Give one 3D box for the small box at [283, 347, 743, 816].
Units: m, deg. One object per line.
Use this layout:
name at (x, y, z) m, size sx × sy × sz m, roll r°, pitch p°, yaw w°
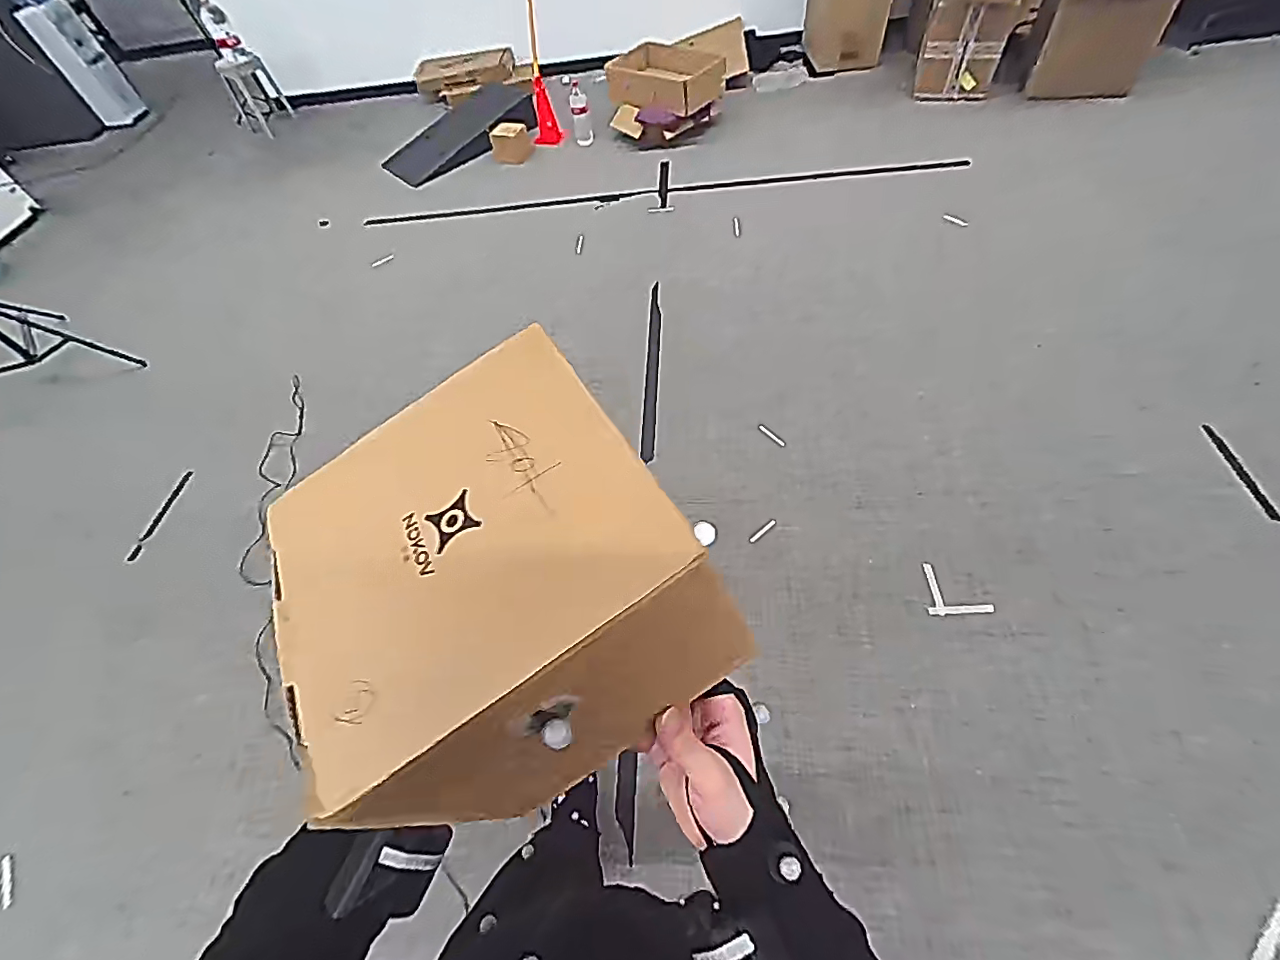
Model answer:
small box at (-0.060, 0.066, 0.318) m, size 0.179 × 0.176 × 0.168 m, roll -36°, pitch 56°, yaw -4°
